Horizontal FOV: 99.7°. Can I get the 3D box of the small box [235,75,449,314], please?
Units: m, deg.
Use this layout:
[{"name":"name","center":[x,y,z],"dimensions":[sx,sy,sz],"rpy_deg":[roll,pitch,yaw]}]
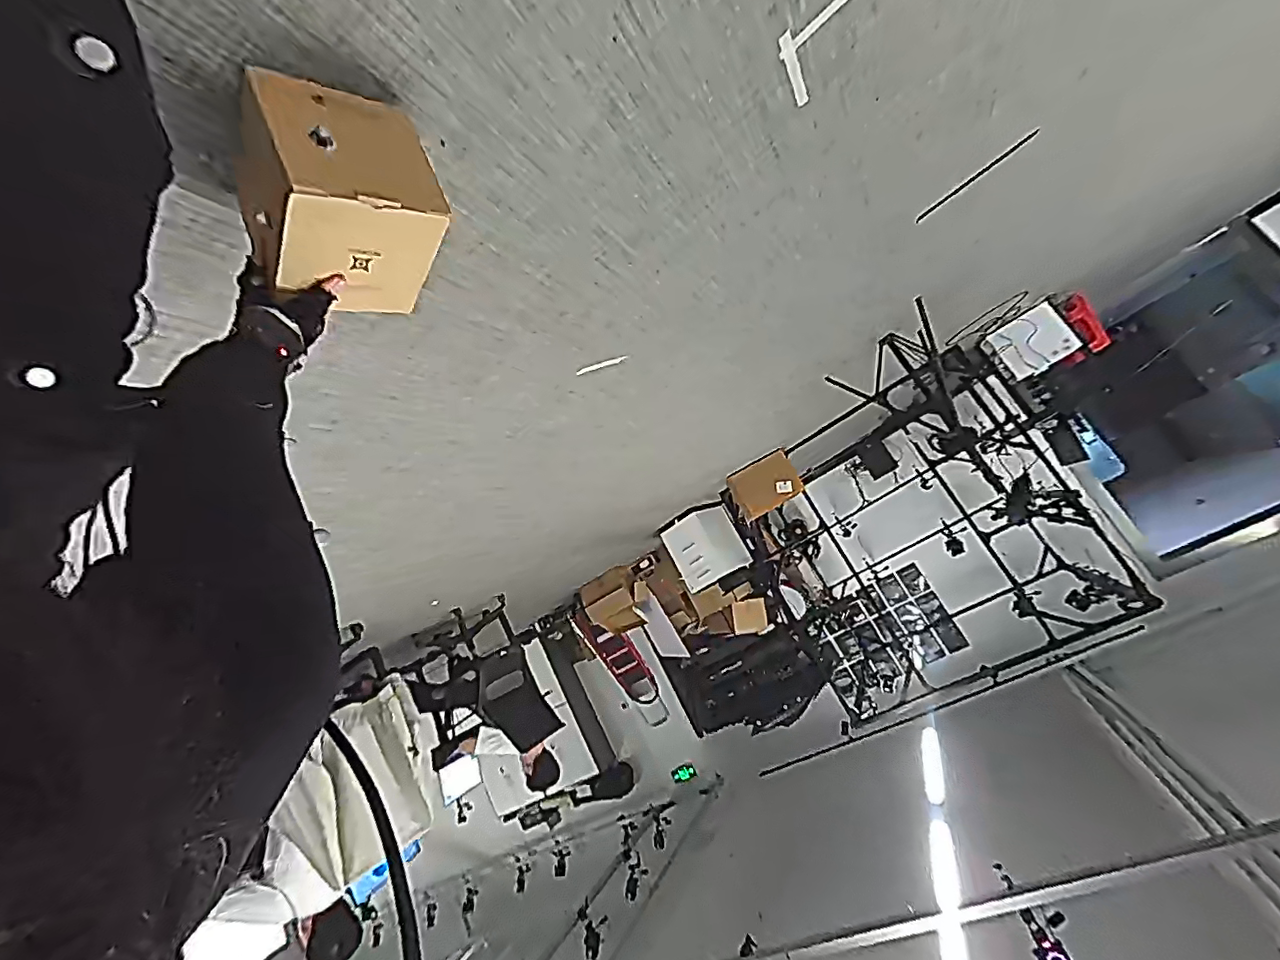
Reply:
[{"name":"small box","center":[-0.356,-0.321,0.638],"dimensions":[0.168,0.176,0.179],"rpy_deg":[-13,164,-43]}]
